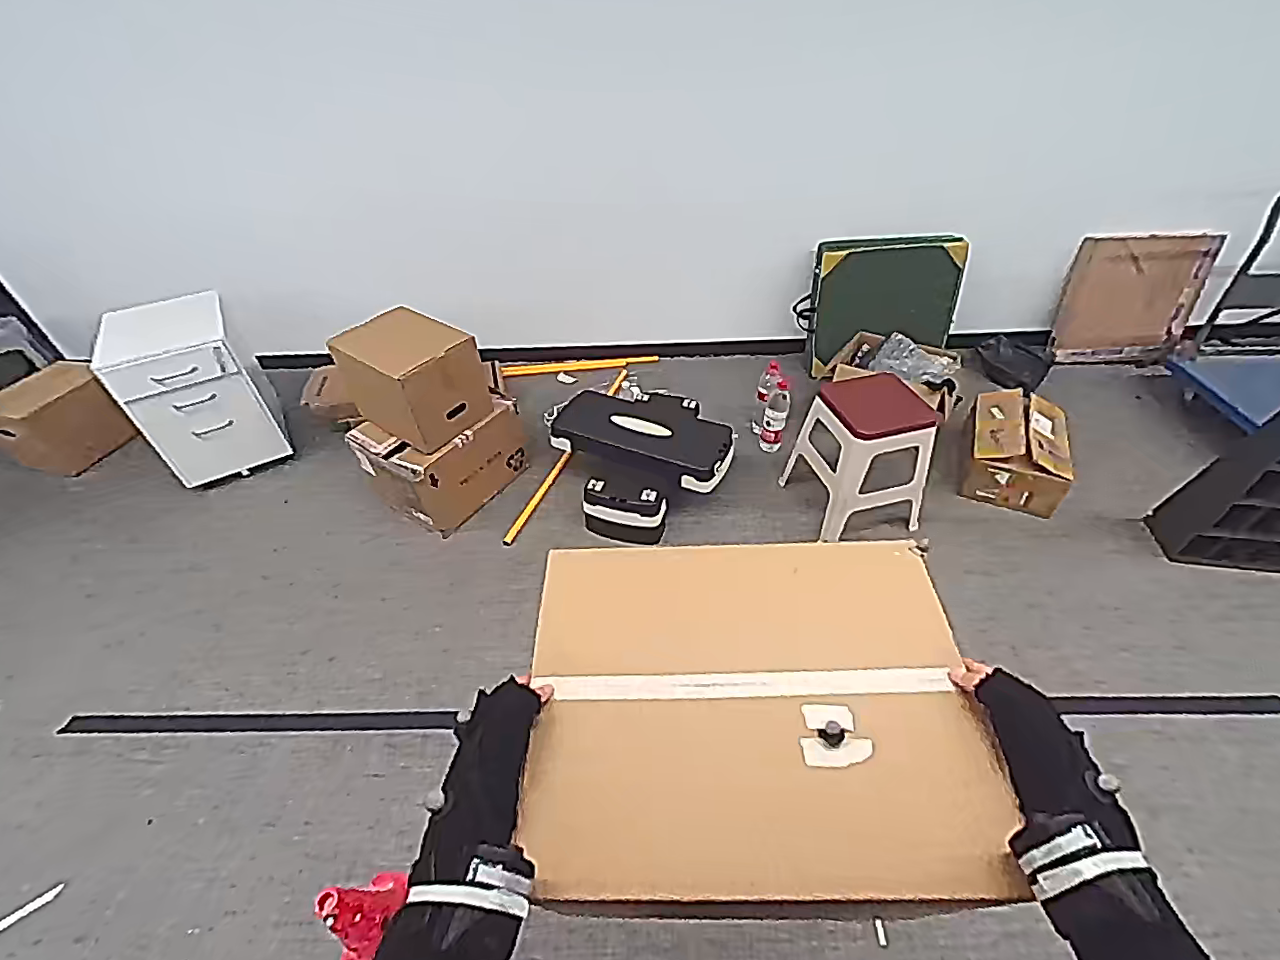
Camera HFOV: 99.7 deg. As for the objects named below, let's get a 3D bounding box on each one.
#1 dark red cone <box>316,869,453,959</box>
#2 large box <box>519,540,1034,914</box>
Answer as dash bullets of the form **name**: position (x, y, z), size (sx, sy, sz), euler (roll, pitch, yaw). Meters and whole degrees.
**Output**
- **dark red cone**: position (-0.516, 0.826, 1.023), size (0.201, 0.394, 0.202), euler (4, 43, 6)
- **large box**: position (0.106, 0.288, 0.621), size (0.408, 0.320, 0.320), euler (-2, 49, 2)
